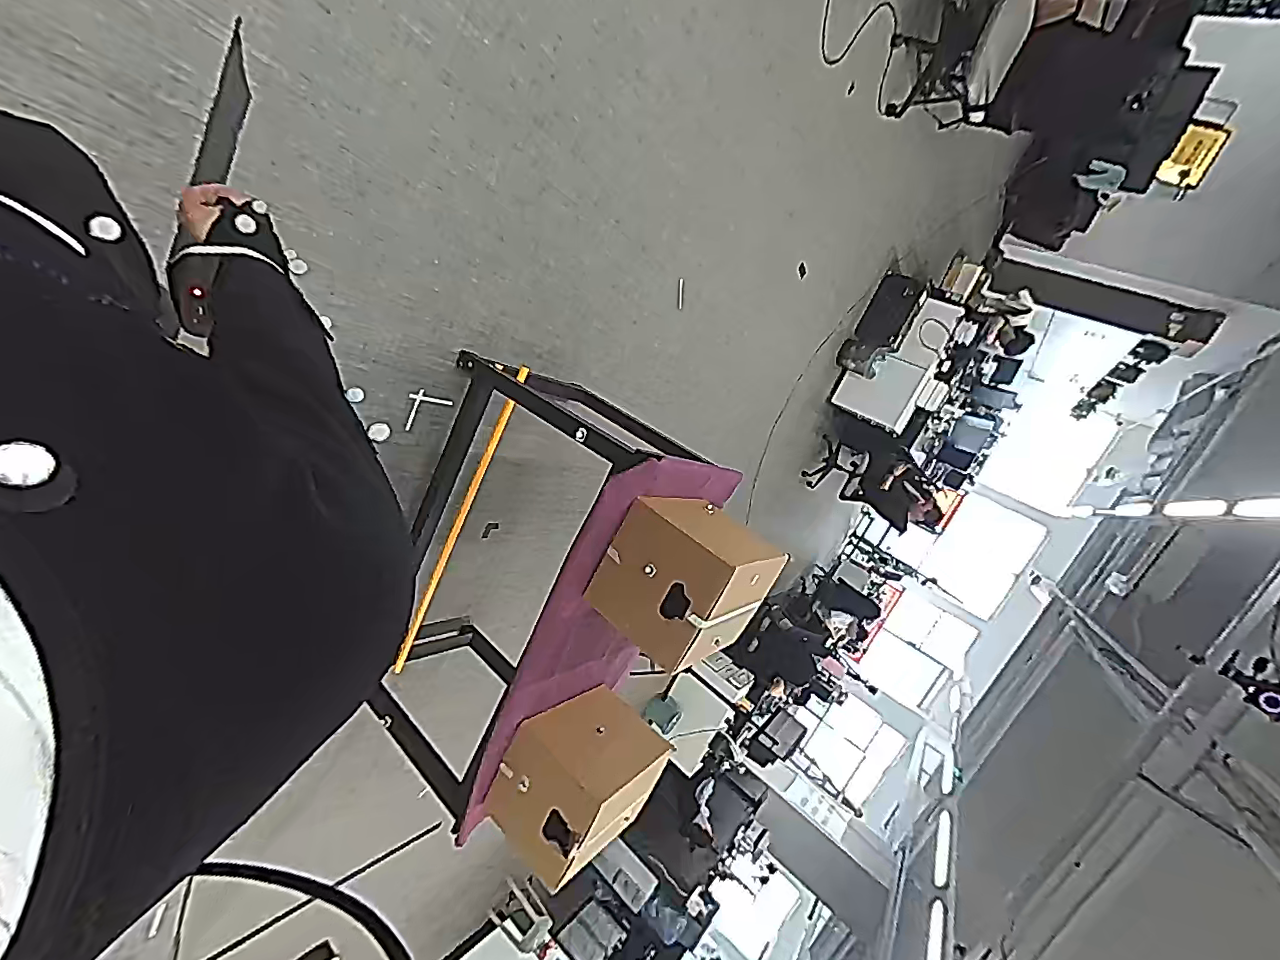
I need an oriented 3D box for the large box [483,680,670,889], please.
[{"bbox_3d":[-0.180,0.858,1.597,0.408,0.320,0.320,4,115,-60],"label":"large box"}]
